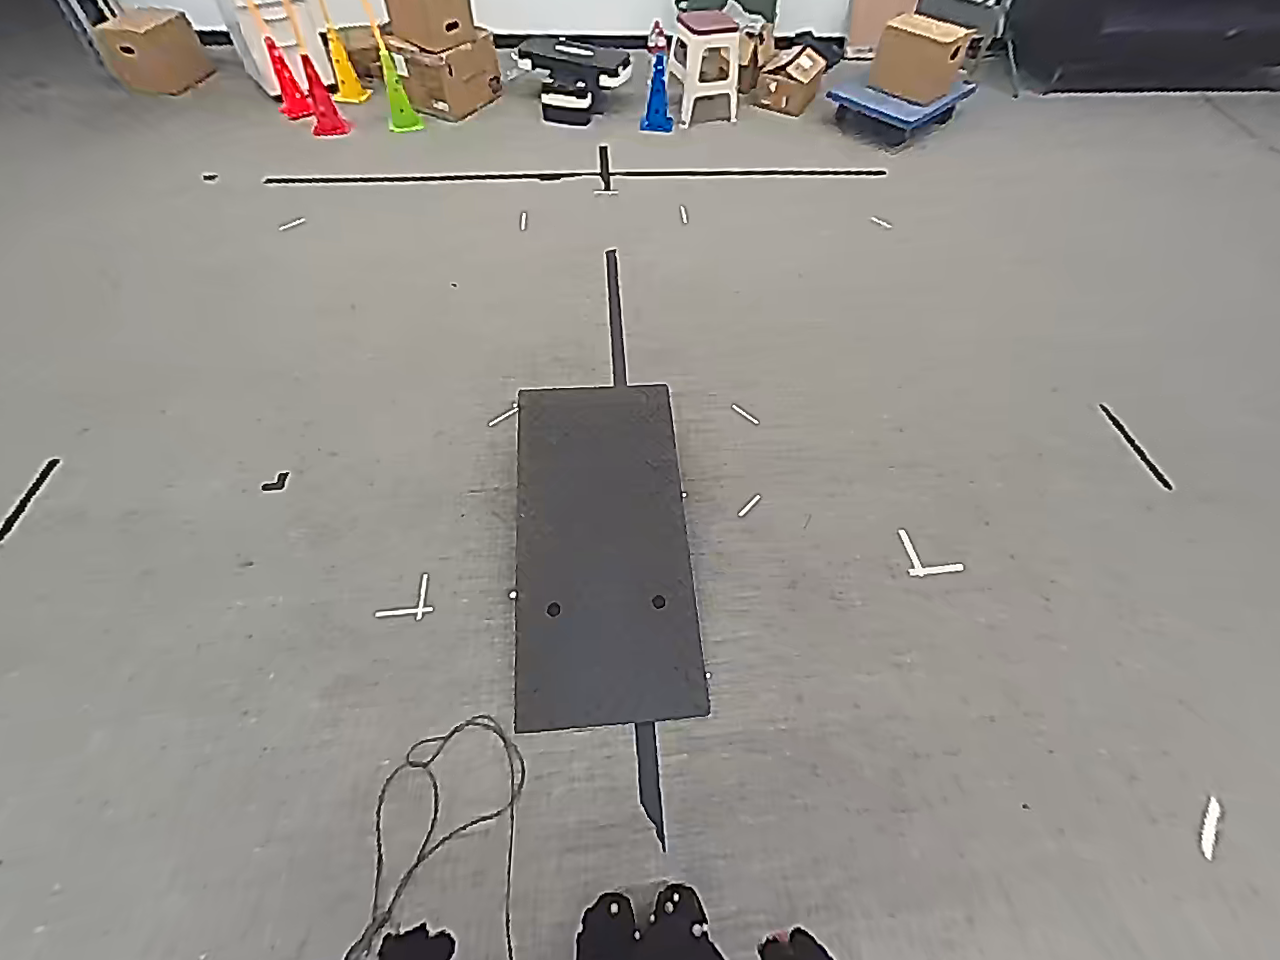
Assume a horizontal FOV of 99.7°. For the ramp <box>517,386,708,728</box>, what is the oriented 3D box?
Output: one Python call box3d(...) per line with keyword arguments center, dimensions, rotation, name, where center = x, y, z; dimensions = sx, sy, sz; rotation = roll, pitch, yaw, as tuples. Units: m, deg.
box3d(center=(-0.104, 0.153, 1.565), dimensions=(0.509, 0.206, 0.991), rotation=(-4, 55, -6), name="ramp")
